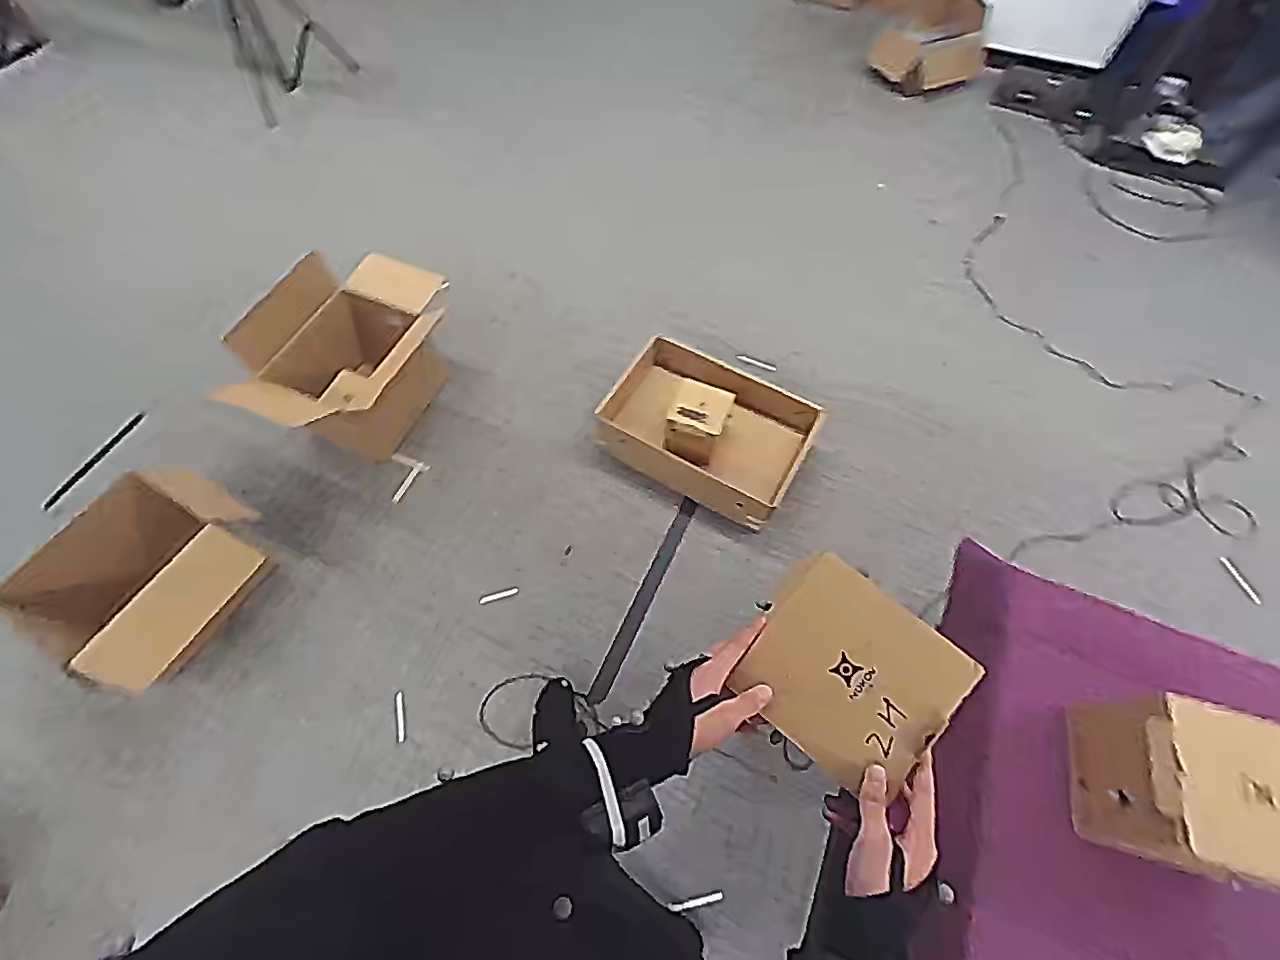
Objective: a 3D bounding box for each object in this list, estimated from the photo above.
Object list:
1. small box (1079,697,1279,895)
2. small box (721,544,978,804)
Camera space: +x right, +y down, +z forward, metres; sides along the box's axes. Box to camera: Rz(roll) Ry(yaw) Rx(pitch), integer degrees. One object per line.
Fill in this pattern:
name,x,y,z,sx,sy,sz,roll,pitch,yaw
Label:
small box,0.678,0.383,0.659,0.179,0.176,0.168,16,64,7
small box,0.200,0.192,0.578,0.179,0.176,0.168,38,85,12
